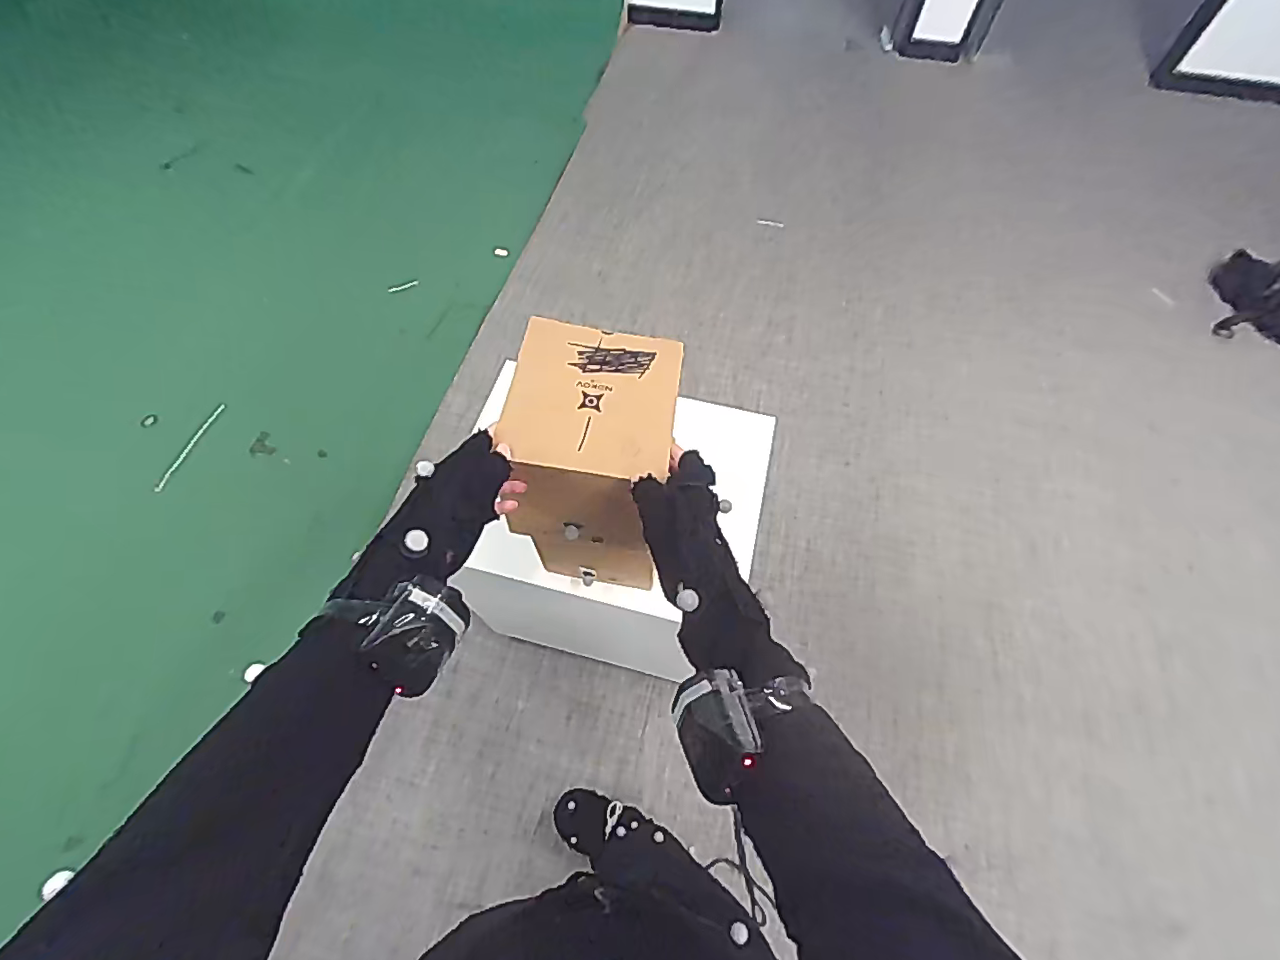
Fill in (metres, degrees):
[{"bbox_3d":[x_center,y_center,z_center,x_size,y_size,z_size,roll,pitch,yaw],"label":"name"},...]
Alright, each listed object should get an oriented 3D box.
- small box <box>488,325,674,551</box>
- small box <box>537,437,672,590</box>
[{"bbox_3d":[-0.058,-0.041,0.598,0.168,0.176,0.179,6,59,-2],"label":"small box"},{"bbox_3d":[-0.049,0.041,0.778,0.168,0.176,0.179,8,63,6],"label":"small box"}]
